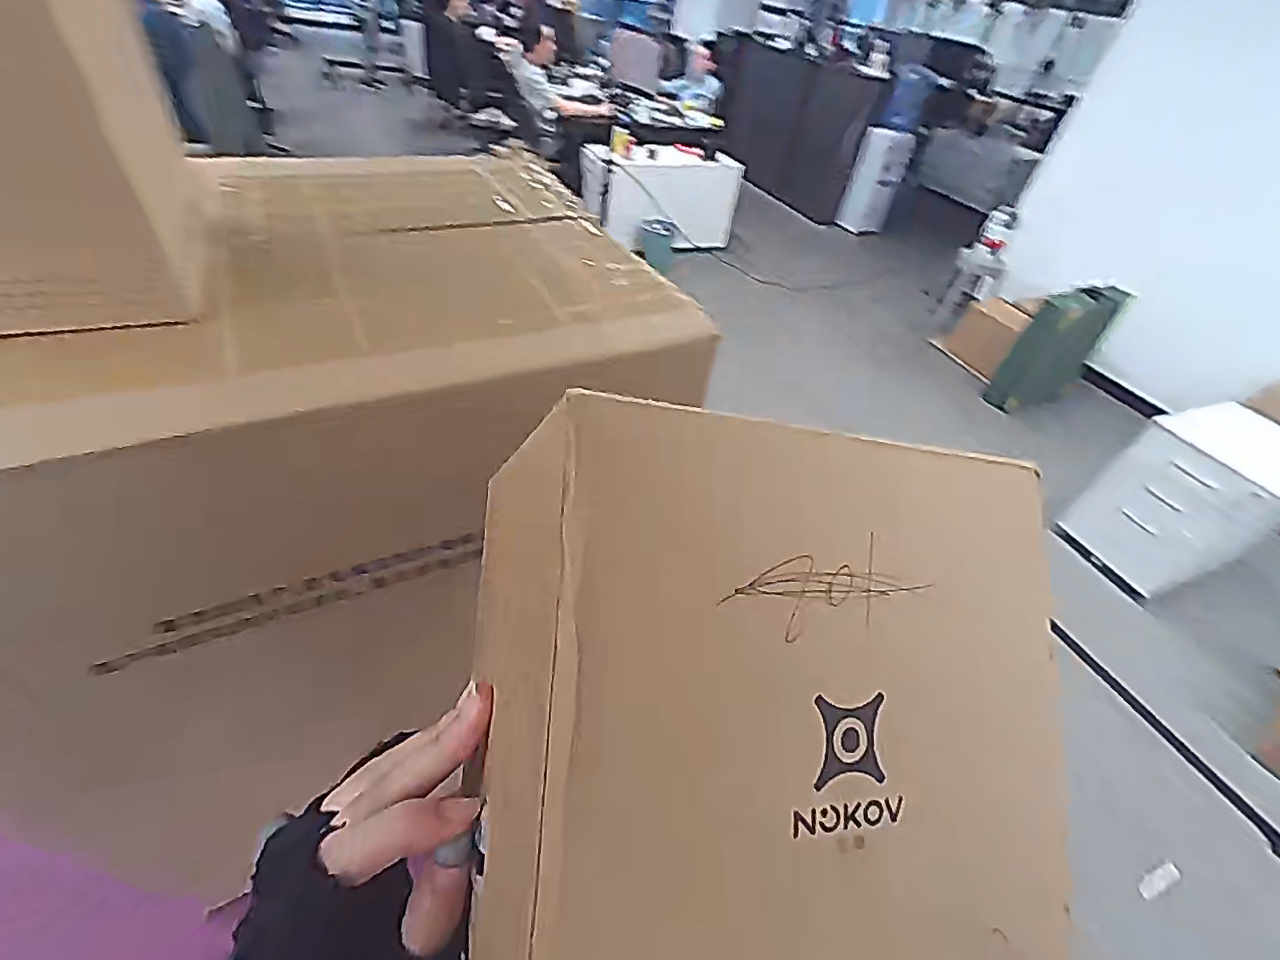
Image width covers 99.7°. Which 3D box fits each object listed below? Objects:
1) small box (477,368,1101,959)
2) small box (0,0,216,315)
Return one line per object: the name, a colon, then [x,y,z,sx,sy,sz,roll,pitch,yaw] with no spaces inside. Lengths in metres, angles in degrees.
small box: [0.031,0.078,0.215,0.168,0.176,0.179,6,79,-20]
small box: [-0.344,-0.188,0.258,0.179,0.176,0.168,-14,49,-24]
